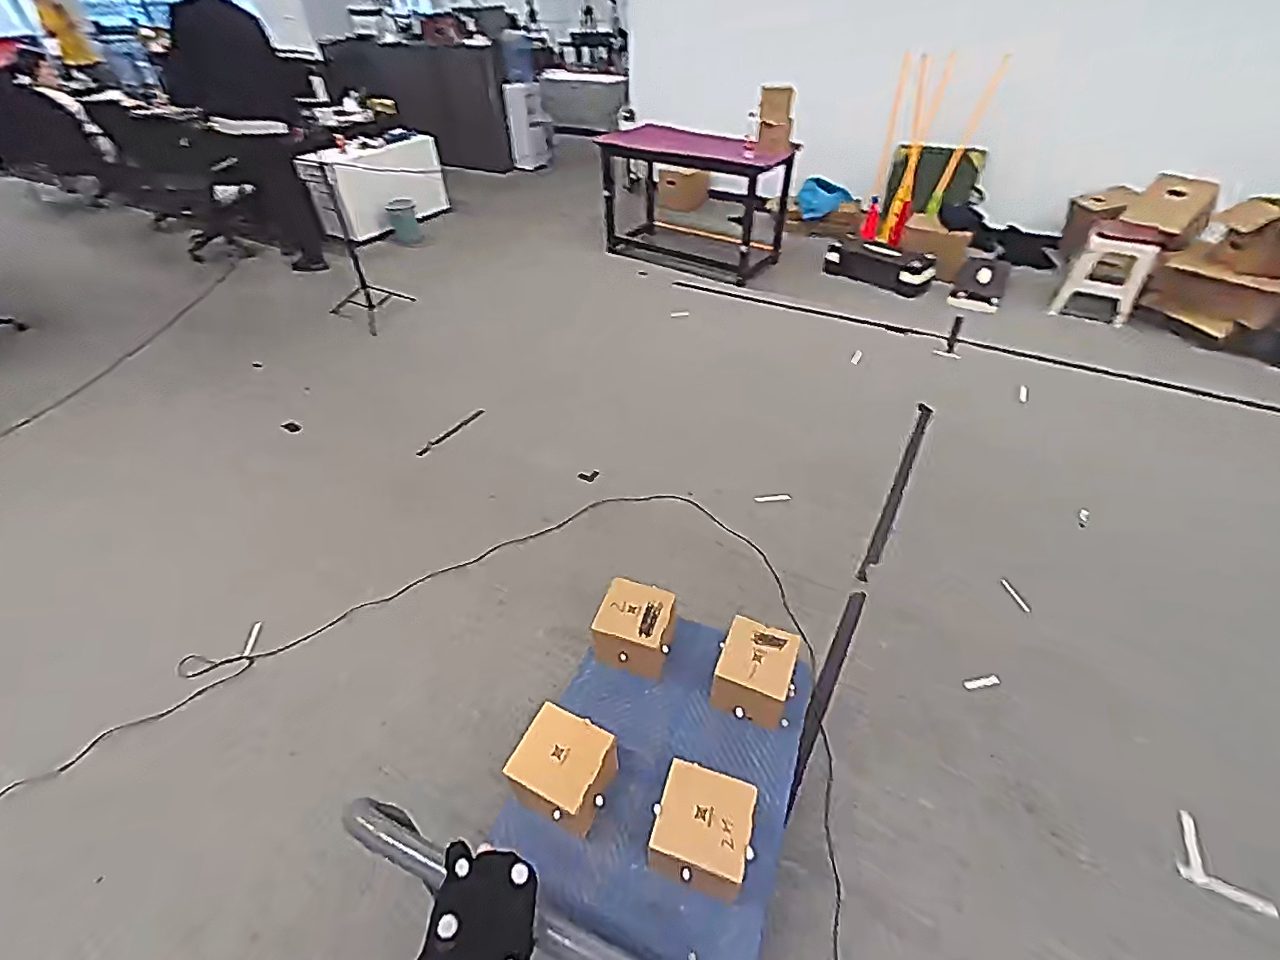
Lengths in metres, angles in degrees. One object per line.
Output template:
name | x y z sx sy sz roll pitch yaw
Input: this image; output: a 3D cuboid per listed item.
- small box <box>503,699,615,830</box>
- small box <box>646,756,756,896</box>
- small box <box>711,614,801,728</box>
small box | -0.167 0.616 1.167 0.179 0.176 0.168 19 46 18
small box | 0.120 0.692 1.079 0.179 0.176 0.168 13 44 15
small box | 0.279 0.467 1.322 0.168 0.176 0.179 17 46 18
